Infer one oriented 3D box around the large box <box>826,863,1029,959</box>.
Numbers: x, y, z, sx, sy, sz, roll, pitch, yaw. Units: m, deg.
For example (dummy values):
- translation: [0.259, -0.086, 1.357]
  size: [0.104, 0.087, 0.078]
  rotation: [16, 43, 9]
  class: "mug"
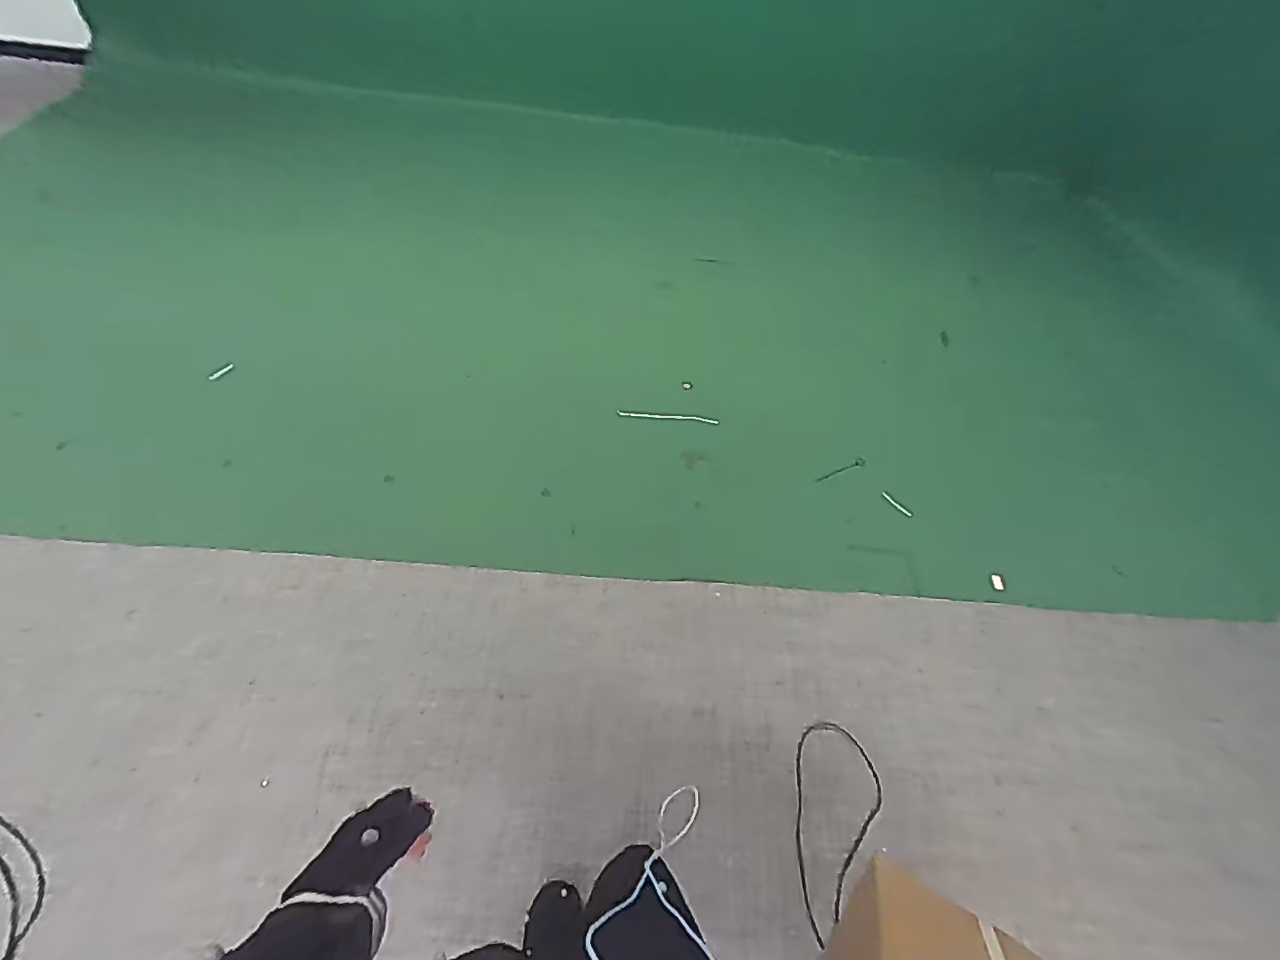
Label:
- translation: [0.363, 0.777, 0.614]
  size: [0.320, 0.408, 0.320]
  rotation: [28, 96, 21]
  class: "large box"
